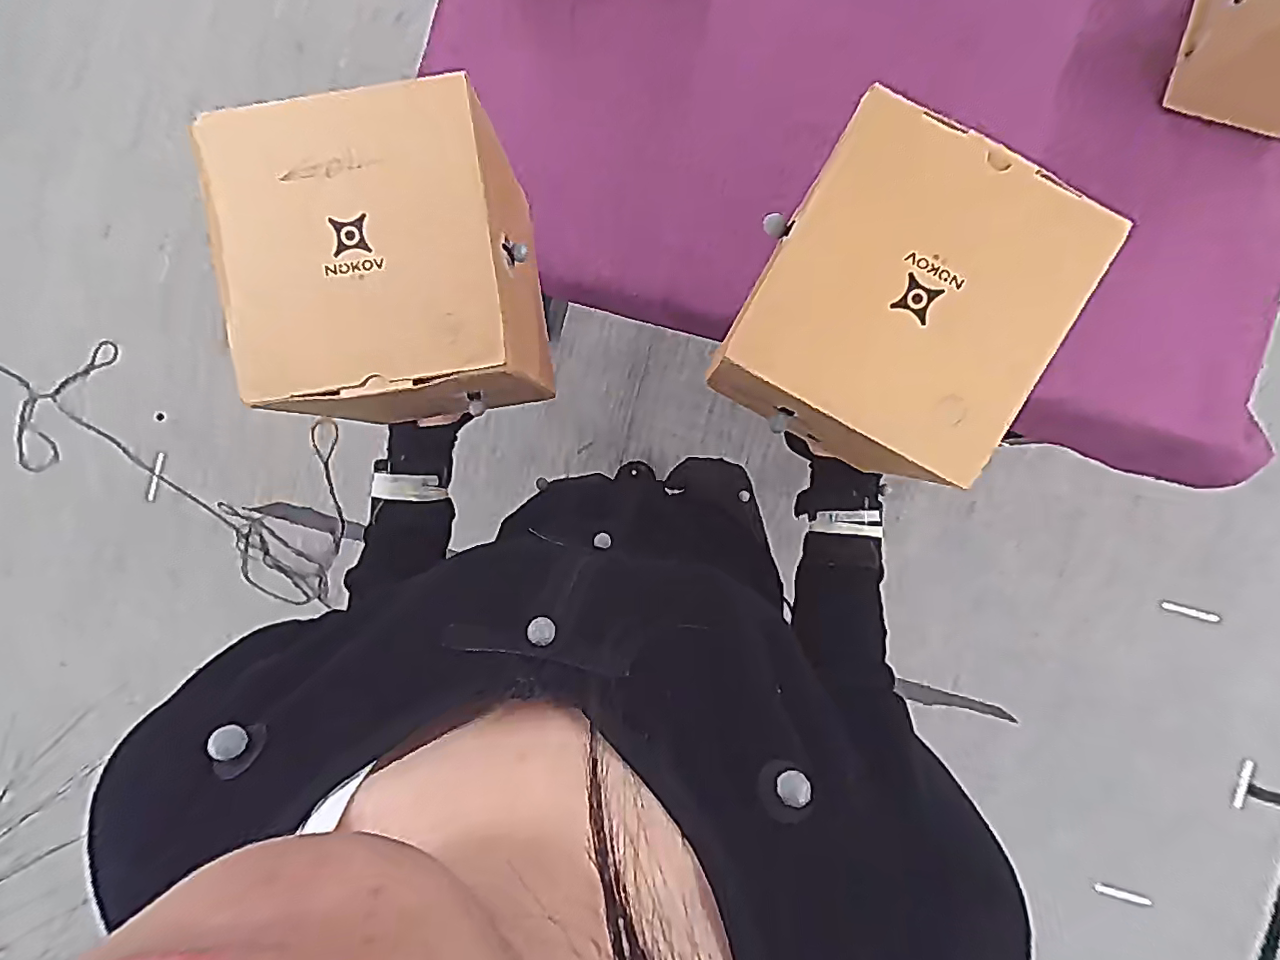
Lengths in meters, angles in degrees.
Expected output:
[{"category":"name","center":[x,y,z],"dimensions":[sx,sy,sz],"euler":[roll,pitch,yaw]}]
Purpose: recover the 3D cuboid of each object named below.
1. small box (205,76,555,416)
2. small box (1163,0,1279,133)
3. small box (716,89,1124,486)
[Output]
[{"category":"small box","center":[-0.165,-0.144,0.402],"dimensions":[0.168,0.176,0.179],"euler":[-8,91,0]},{"category":"small box","center":[0.797,-0.556,0.644],"dimensions":[0.179,0.176,0.168],"euler":[16,93,0]},{"category":"small box","center":[0.167,-0.114,0.392],"dimensions":[0.168,0.176,0.179],"euler":[29,94,1]}]
